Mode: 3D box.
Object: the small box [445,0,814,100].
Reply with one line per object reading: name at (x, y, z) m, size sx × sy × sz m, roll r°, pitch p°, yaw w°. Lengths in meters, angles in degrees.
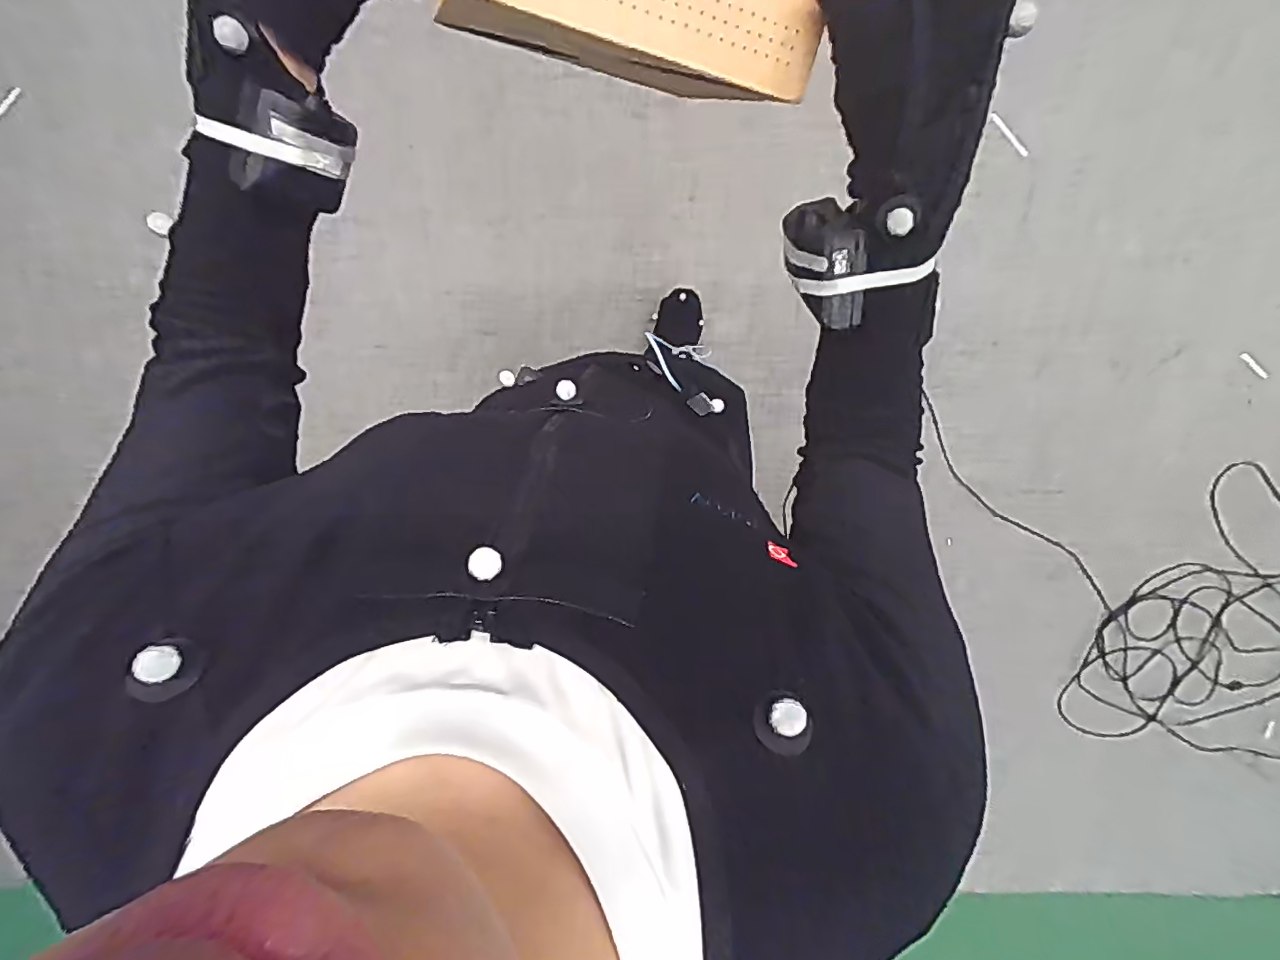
small box at (-0.002, -0.314, 0.277) m, size 0.179 × 0.168 × 0.176 m, roll 1°, pitch 123°, yaw -22°
